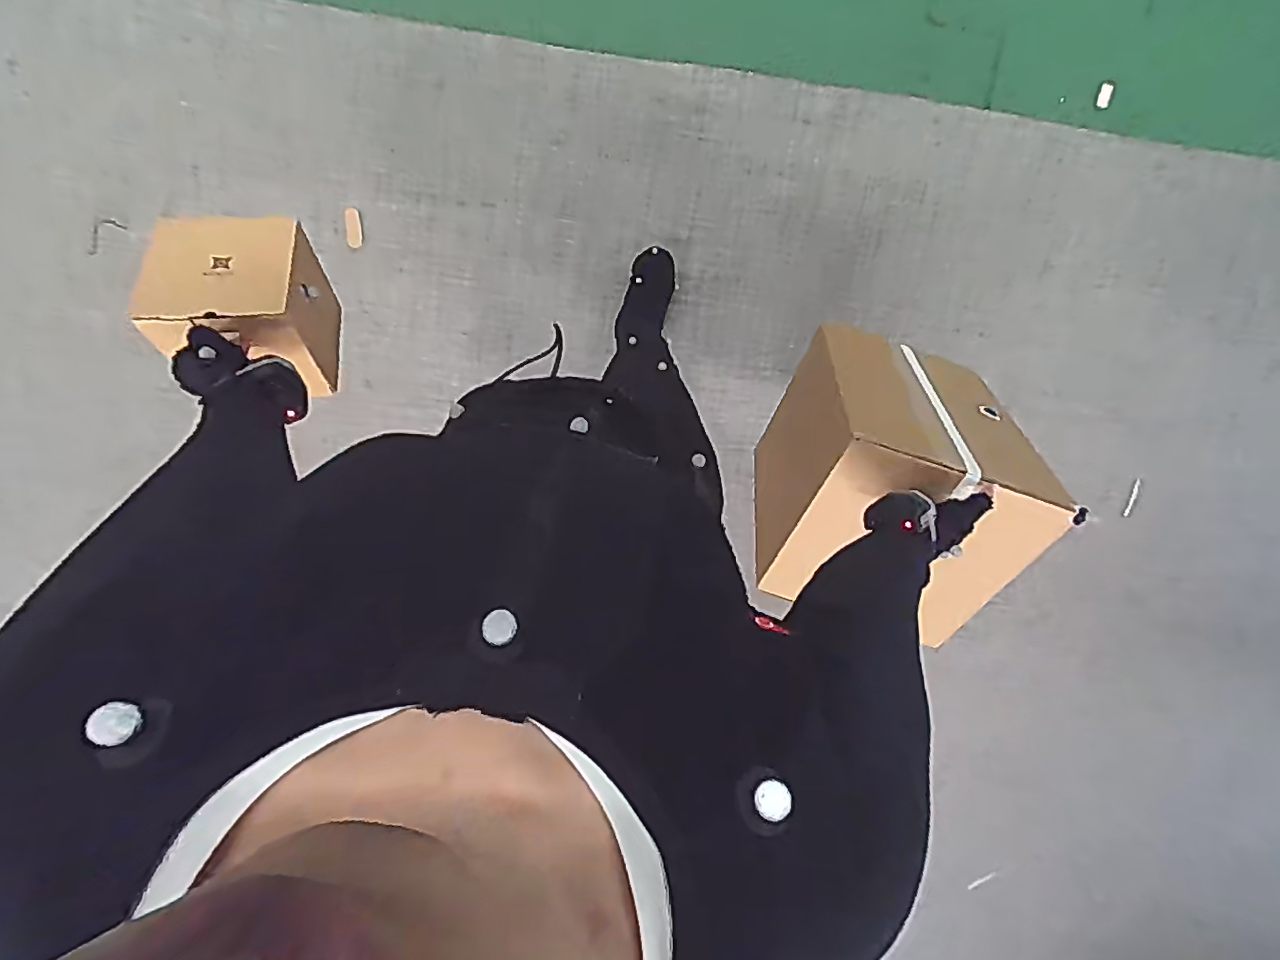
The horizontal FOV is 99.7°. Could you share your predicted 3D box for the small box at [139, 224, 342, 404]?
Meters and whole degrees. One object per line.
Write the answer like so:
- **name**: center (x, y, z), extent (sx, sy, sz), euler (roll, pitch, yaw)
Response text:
- **small box**: center (-0.534, -0.228, 0.755), extent (0.168, 0.176, 0.179), euler (-7, 65, -11)
